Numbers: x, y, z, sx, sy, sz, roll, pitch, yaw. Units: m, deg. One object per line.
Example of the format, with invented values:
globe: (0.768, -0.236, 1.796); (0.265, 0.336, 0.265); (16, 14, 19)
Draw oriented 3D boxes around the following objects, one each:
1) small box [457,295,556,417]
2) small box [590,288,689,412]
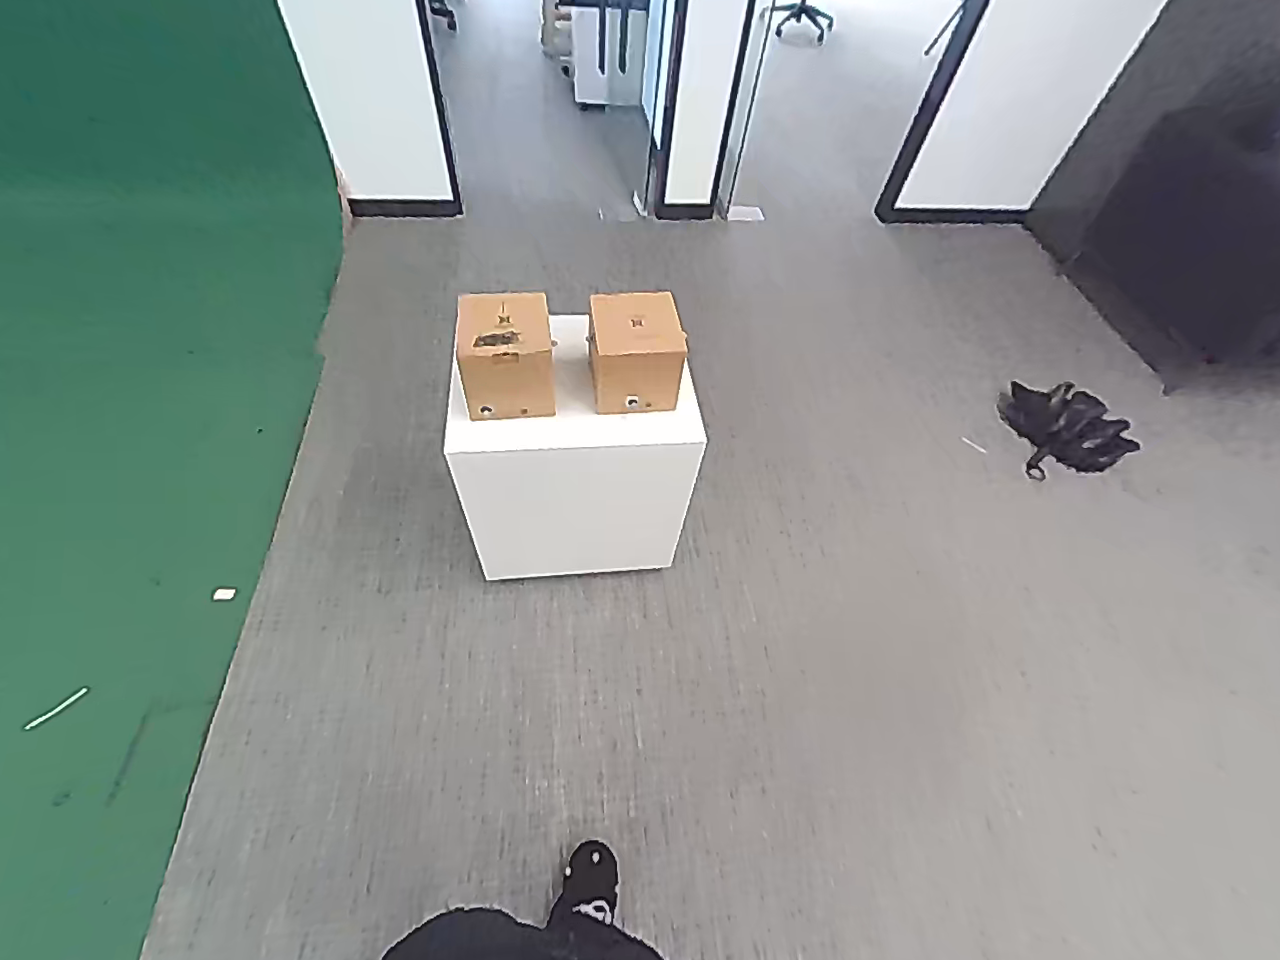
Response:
small box: (-0.255, -0.235, 1.054); (0.168, 0.176, 0.179); (-5, 54, -10)
small box: (-0.010, -0.258, 1.077); (0.168, 0.176, 0.179); (-5, 57, -8)
